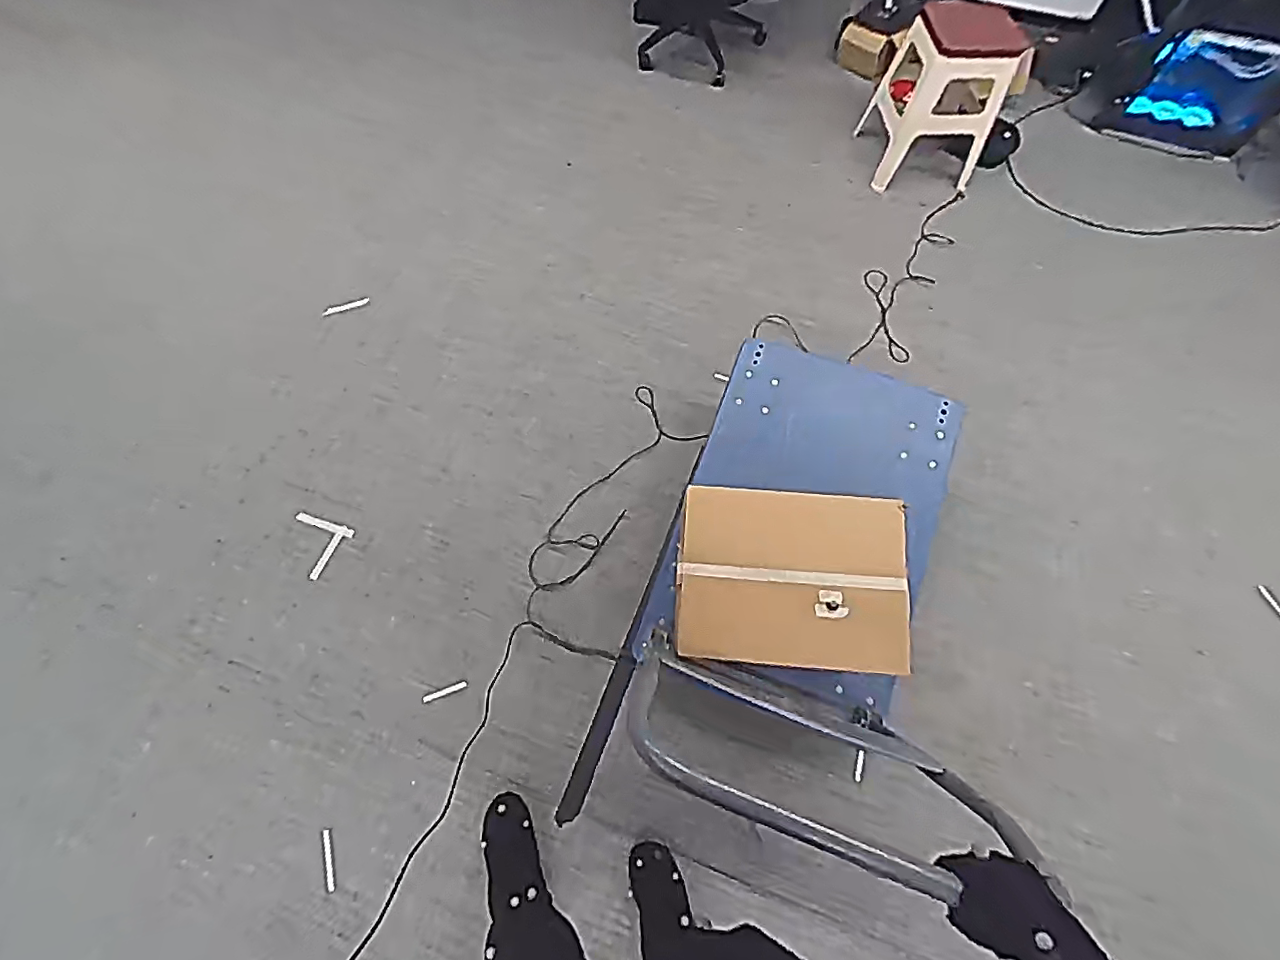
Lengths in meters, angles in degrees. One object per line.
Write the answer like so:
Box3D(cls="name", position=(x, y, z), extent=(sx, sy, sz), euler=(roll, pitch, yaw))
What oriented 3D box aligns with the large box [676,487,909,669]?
Box3D(cls="large box", position=(0.283, 0.207, 1.128), extent=(0.408, 0.320, 0.320), euler=(4, 77, 3))
